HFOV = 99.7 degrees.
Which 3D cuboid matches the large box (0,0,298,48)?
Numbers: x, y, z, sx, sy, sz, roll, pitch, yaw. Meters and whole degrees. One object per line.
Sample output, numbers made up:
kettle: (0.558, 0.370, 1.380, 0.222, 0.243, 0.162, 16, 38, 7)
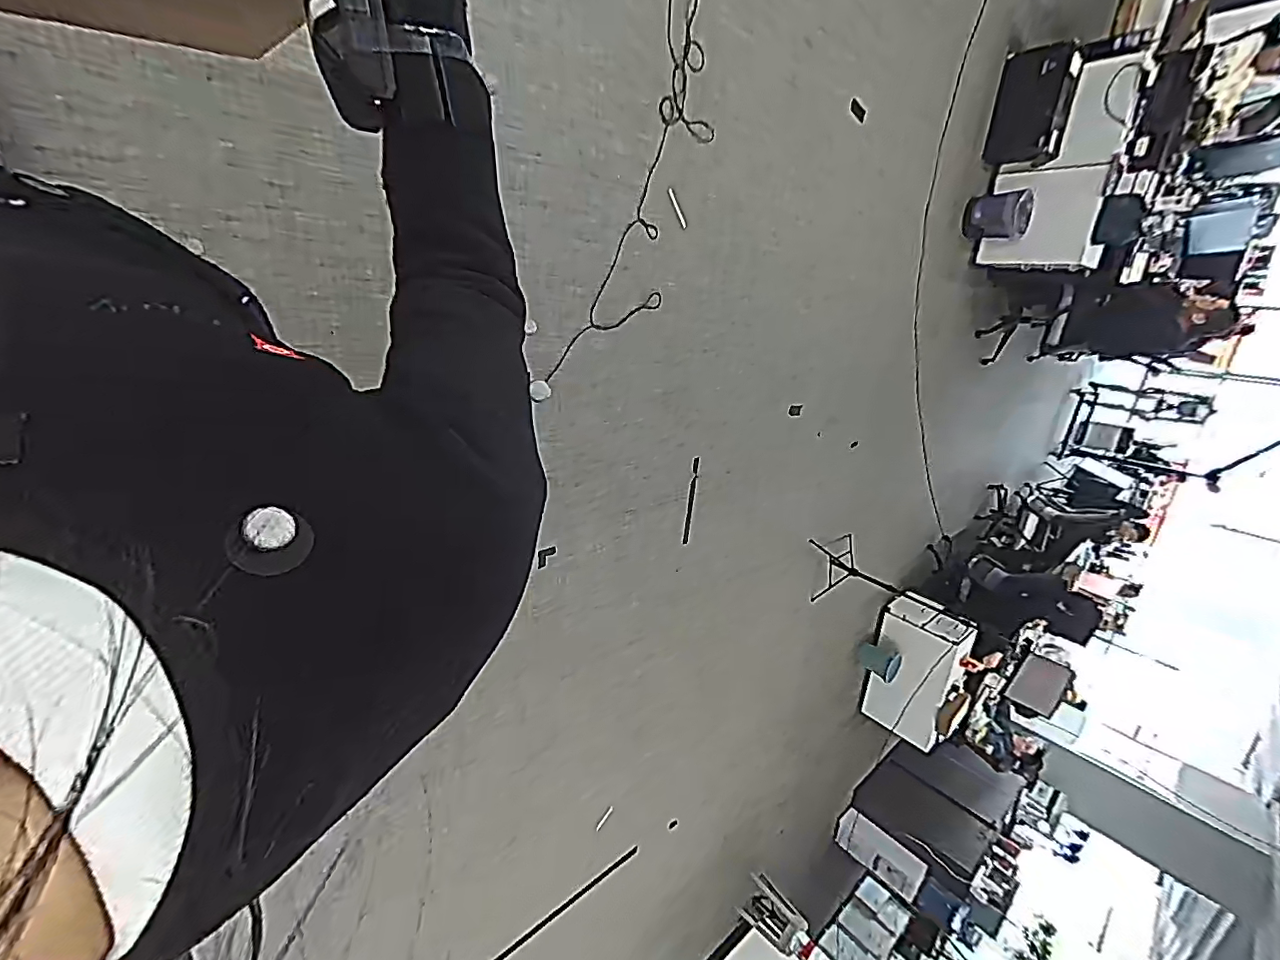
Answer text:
large box: (-0.423, -0.442, 0.239, 0.408, 0.320, 0.320, -18, 126, -37)
